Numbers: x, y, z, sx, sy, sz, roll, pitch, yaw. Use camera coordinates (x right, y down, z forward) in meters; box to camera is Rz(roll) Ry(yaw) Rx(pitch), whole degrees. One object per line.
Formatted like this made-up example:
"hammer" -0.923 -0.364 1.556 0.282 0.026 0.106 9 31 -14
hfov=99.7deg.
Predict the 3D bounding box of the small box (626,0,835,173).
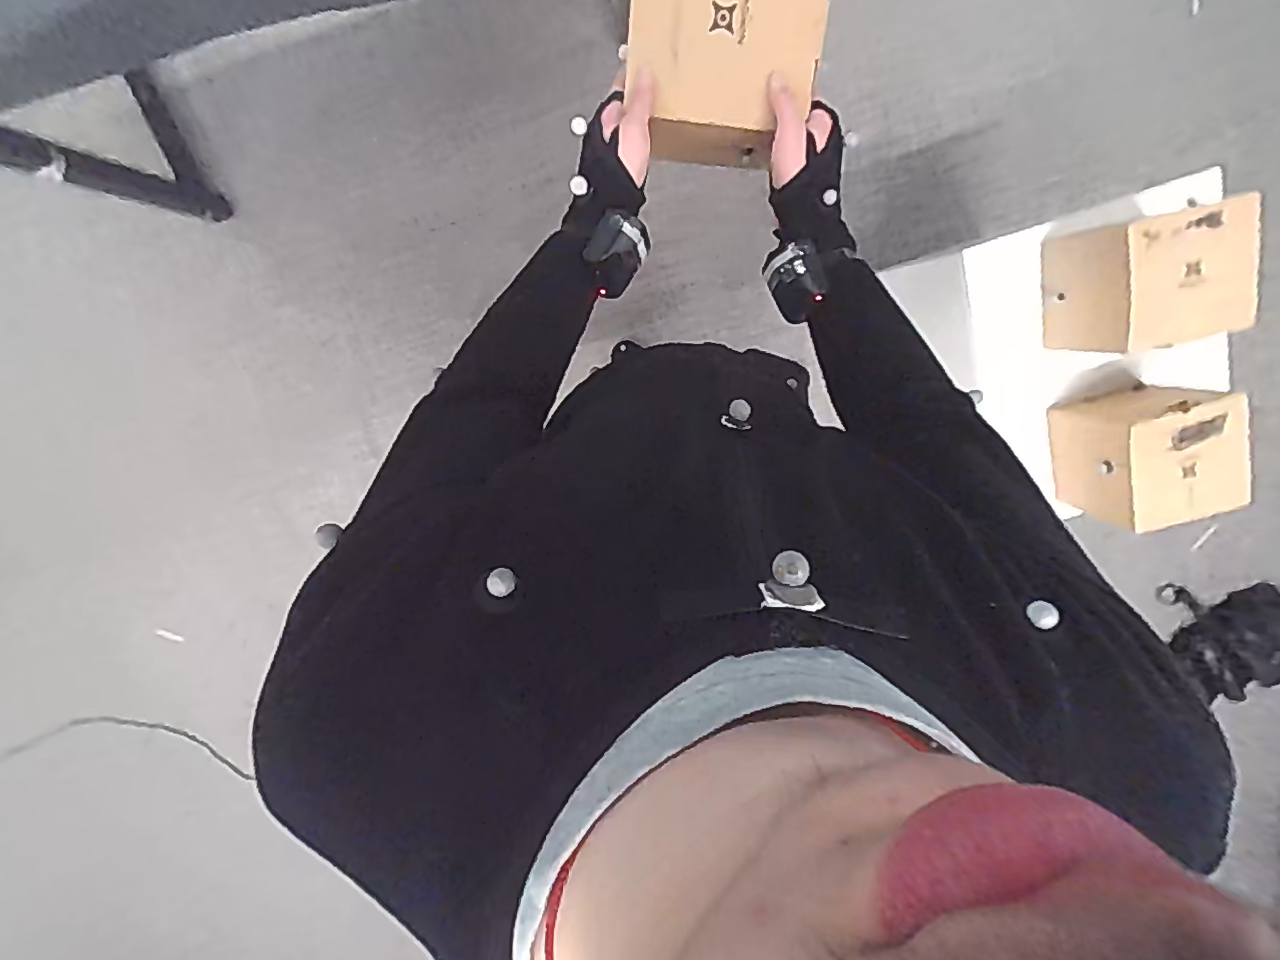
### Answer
"small box" 0.078 -0.420 0.539 0.179 0.176 0.168 3 106 -1

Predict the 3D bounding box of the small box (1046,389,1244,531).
"small box" 0.797 -0.043 0.870 0.168 0.176 0.179 -17 104 2

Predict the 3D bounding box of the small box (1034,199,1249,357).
"small box" 0.728 -0.292 0.806 0.168 0.176 0.179 -14 105 1
